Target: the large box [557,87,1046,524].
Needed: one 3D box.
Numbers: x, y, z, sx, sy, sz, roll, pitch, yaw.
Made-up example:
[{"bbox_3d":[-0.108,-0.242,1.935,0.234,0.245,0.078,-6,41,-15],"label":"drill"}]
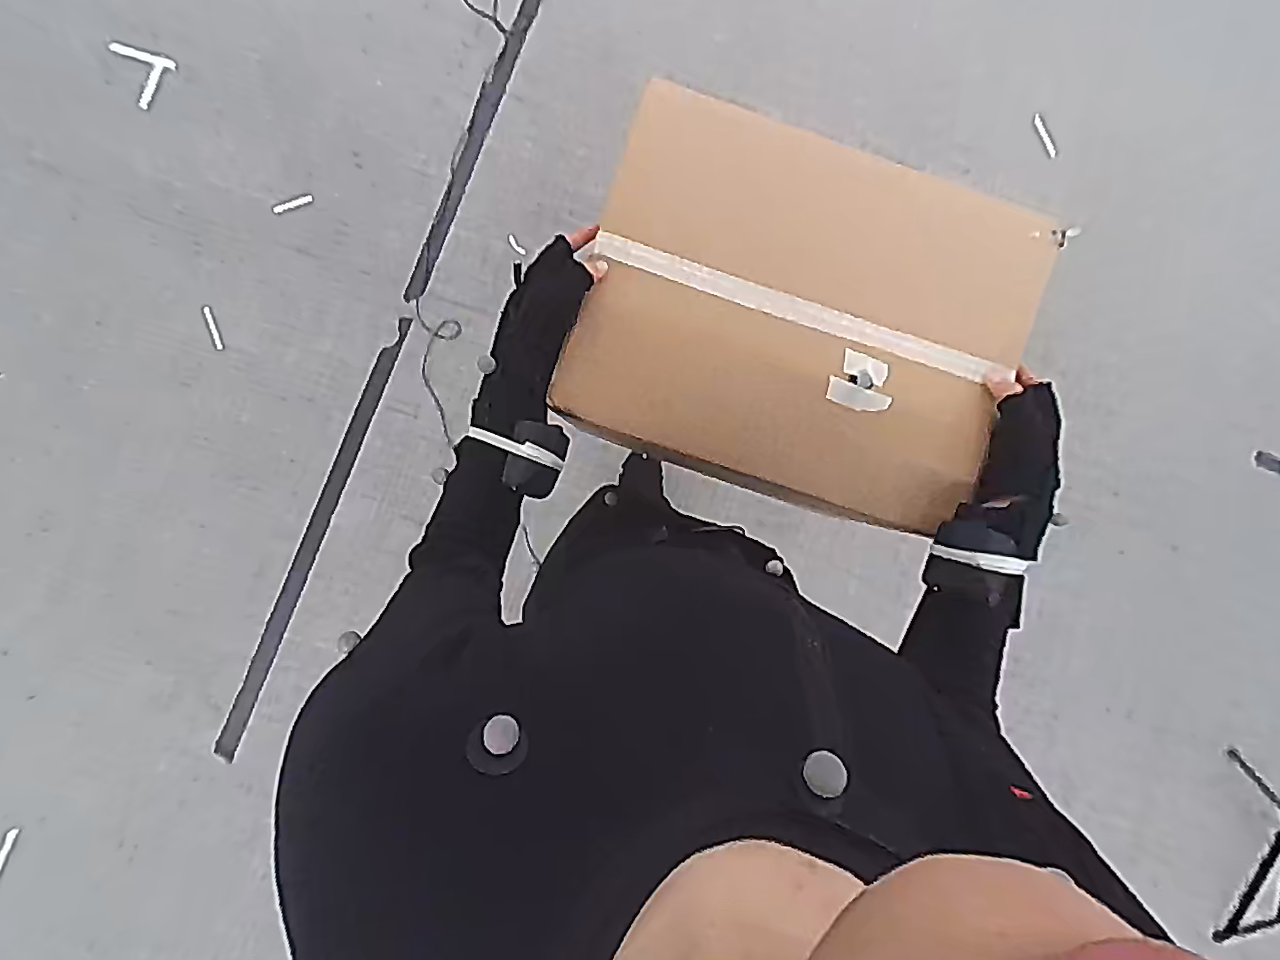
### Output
[{"bbox_3d":[0.148,-0.165,0.658,0.408,0.320,0.320,19,92,-2],"label":"large box"}]
